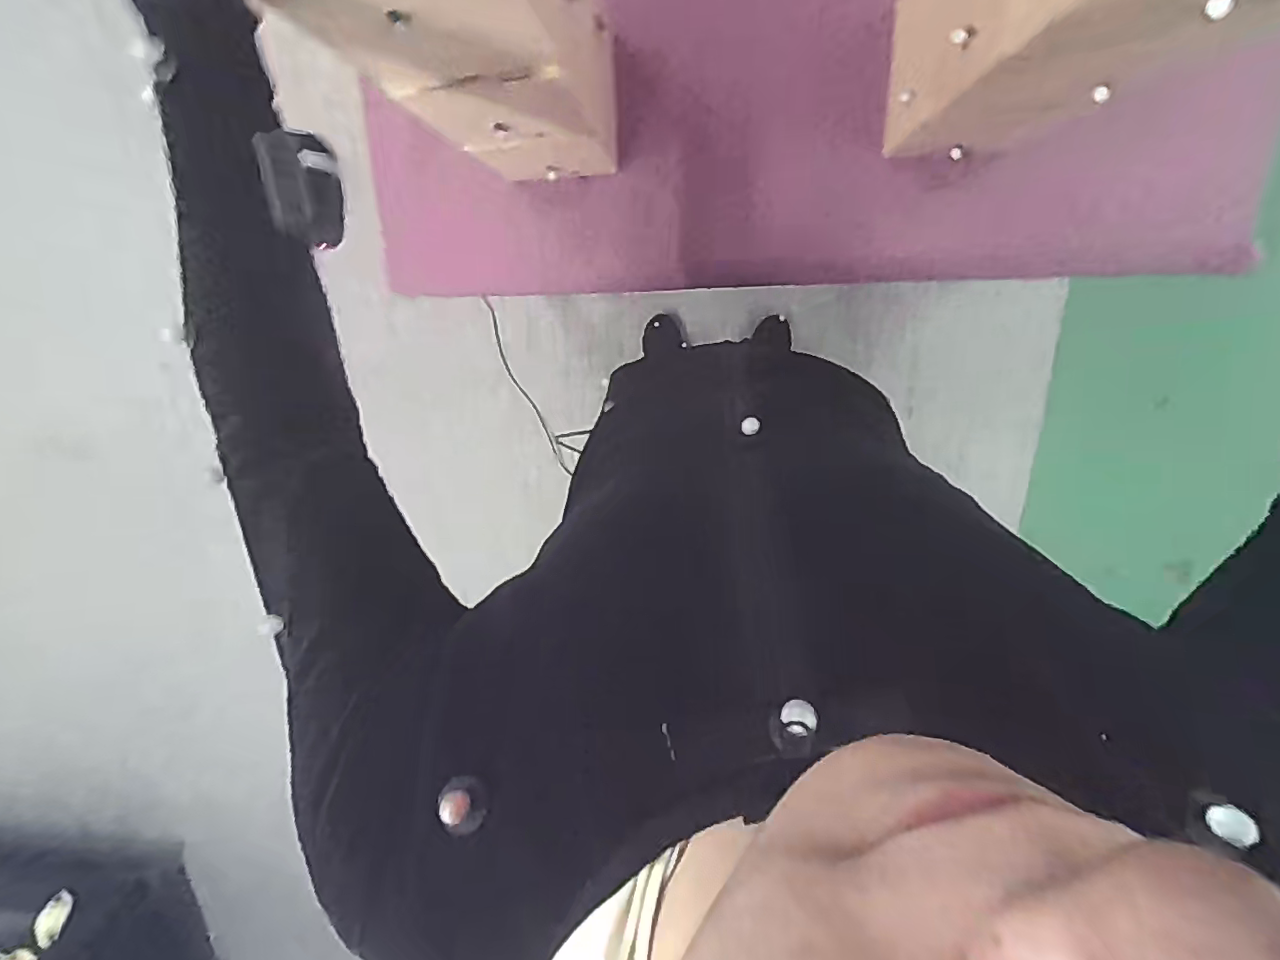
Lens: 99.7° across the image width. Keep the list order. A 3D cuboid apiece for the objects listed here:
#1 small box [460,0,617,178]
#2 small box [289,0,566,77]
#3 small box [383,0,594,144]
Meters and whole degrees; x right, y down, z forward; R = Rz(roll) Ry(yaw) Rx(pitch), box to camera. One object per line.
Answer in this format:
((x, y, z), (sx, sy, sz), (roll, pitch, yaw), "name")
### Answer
((-0.125, -0.507, 0.690), (0.168, 0.176, 0.179), (1, 107, 8), "small box")
((-0.165, -0.416, 0.379), (0.179, 0.176, 0.168), (-2, 107, 9), "small box")
((-0.145, -0.462, 0.535), (0.168, 0.176, 0.179), (-1, 107, 7), "small box")
